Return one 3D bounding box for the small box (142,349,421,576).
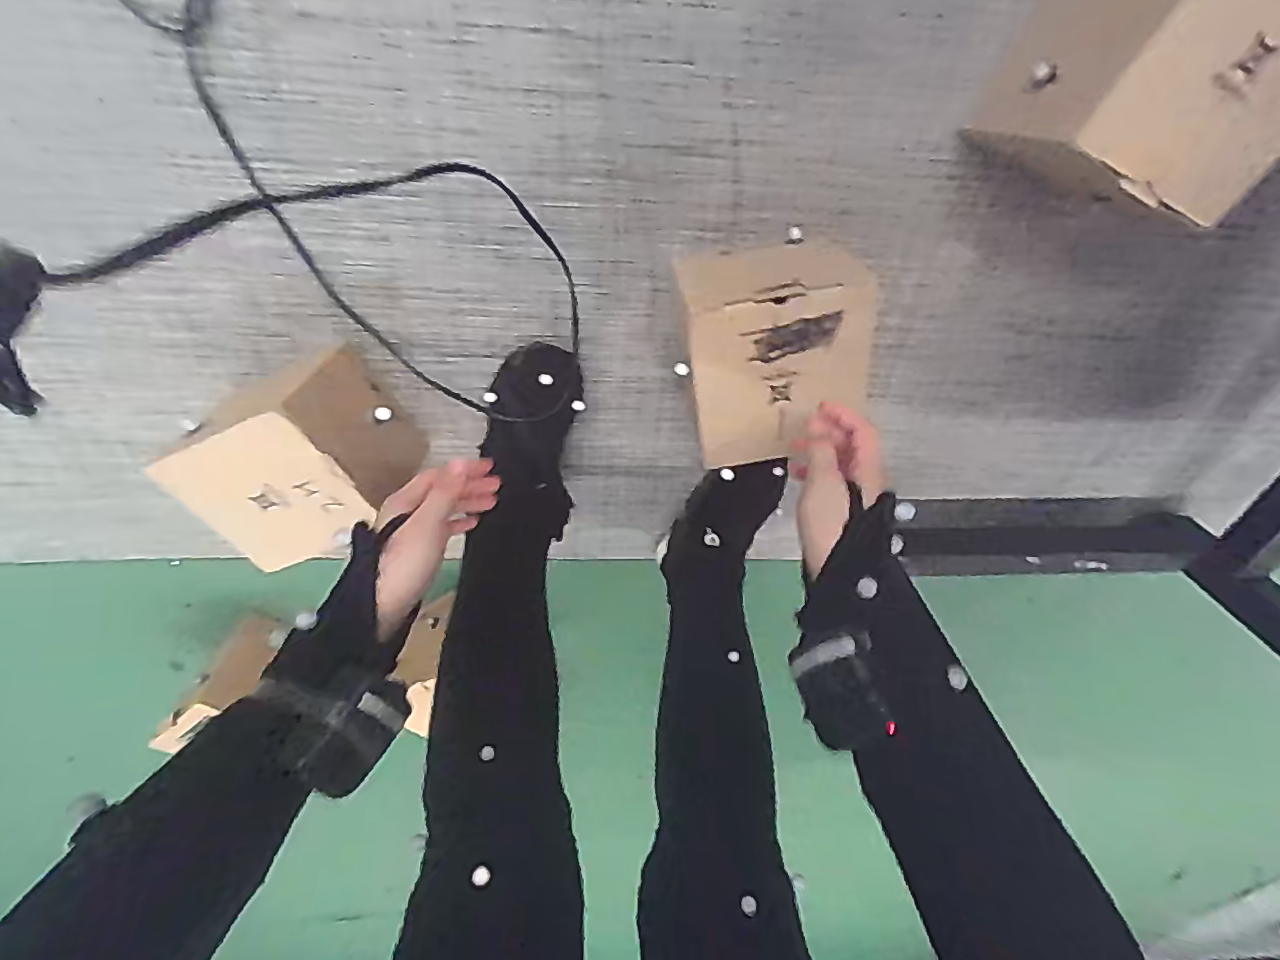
[{"bbox_3d":[-0.390,-0.024,0.628,0.179,0.176,0.168,-20,125,11],"label":"small box"}]

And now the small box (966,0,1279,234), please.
[{"bbox_3d":[0.416,-0.339,0.451,0.168,0.176,0.179,16,122,-17],"label":"small box"}]

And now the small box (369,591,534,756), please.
[{"bbox_3d":[-0.293,0.314,0.885,0.168,0.176,0.179,-29,122,17],"label":"small box"}]
